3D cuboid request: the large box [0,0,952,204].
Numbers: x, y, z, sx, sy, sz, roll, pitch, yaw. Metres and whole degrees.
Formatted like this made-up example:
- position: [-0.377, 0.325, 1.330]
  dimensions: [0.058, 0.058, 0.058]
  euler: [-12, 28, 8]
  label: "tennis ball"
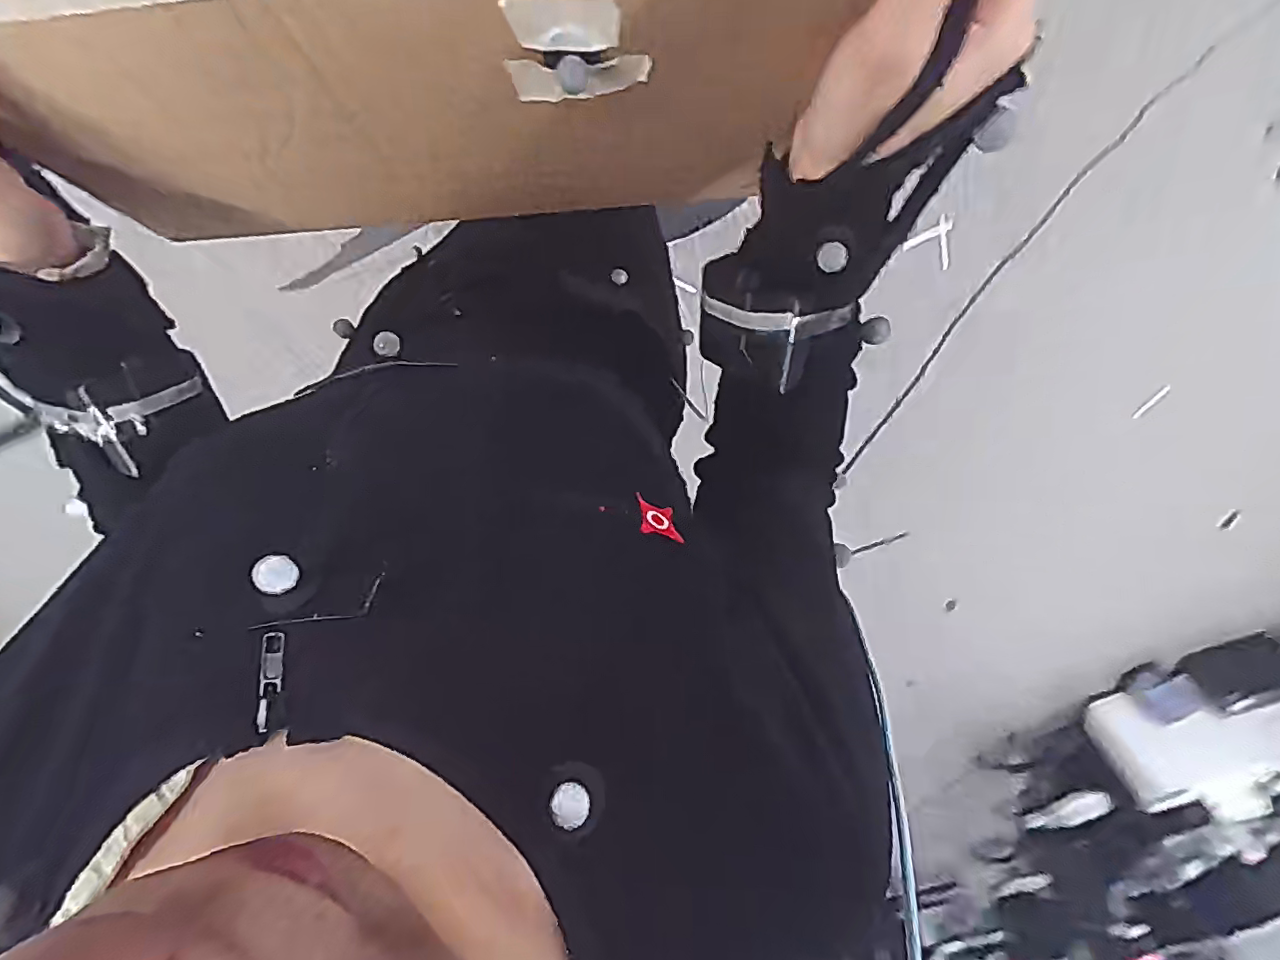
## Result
- position: [-0.087, -0.335, 0.165]
  dimensions: [0.408, 0.320, 0.320]
  euler: [-4, 85, 2]
  label: "large box"
